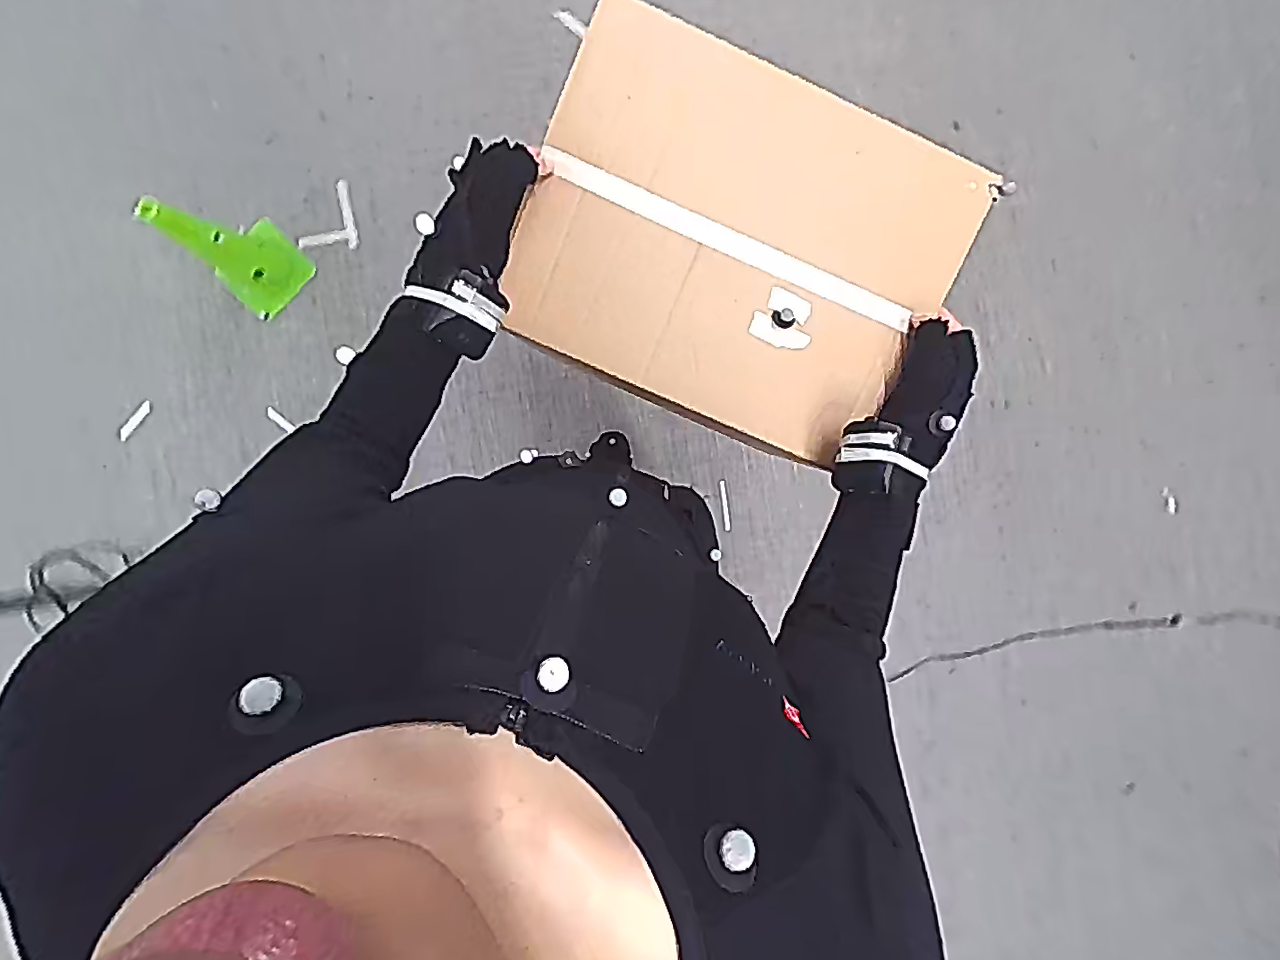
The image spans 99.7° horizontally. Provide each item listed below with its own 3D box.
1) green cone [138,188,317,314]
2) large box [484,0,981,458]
[{"bbox_3d":[-0.987,-0.569,1.265,0.202,0.368,0.200,44,90,0],"label":"green cone"},{"bbox_3d":[0.081,-0.249,0.662,0.408,0.320,0.320,22,97,-4],"label":"large box"}]
